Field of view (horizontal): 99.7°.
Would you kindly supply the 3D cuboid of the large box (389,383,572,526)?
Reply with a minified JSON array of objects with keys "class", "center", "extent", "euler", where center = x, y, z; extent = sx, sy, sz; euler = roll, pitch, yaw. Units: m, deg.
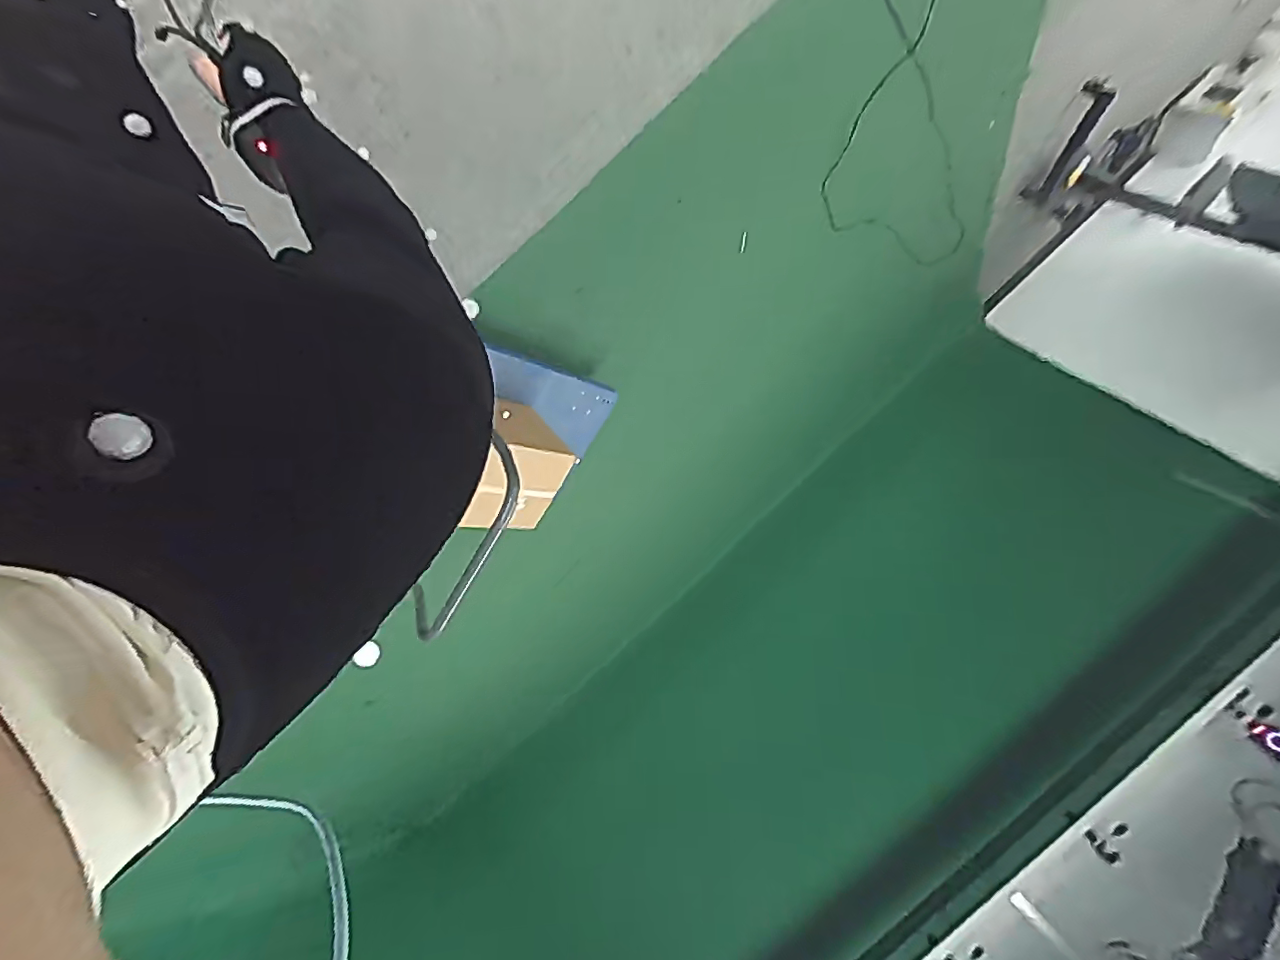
[{"class":"large box","center":[-0.506,-0.069,1.722],"extent":[0.408,0.320,0.320],"euler":[8,122,-53]}]
